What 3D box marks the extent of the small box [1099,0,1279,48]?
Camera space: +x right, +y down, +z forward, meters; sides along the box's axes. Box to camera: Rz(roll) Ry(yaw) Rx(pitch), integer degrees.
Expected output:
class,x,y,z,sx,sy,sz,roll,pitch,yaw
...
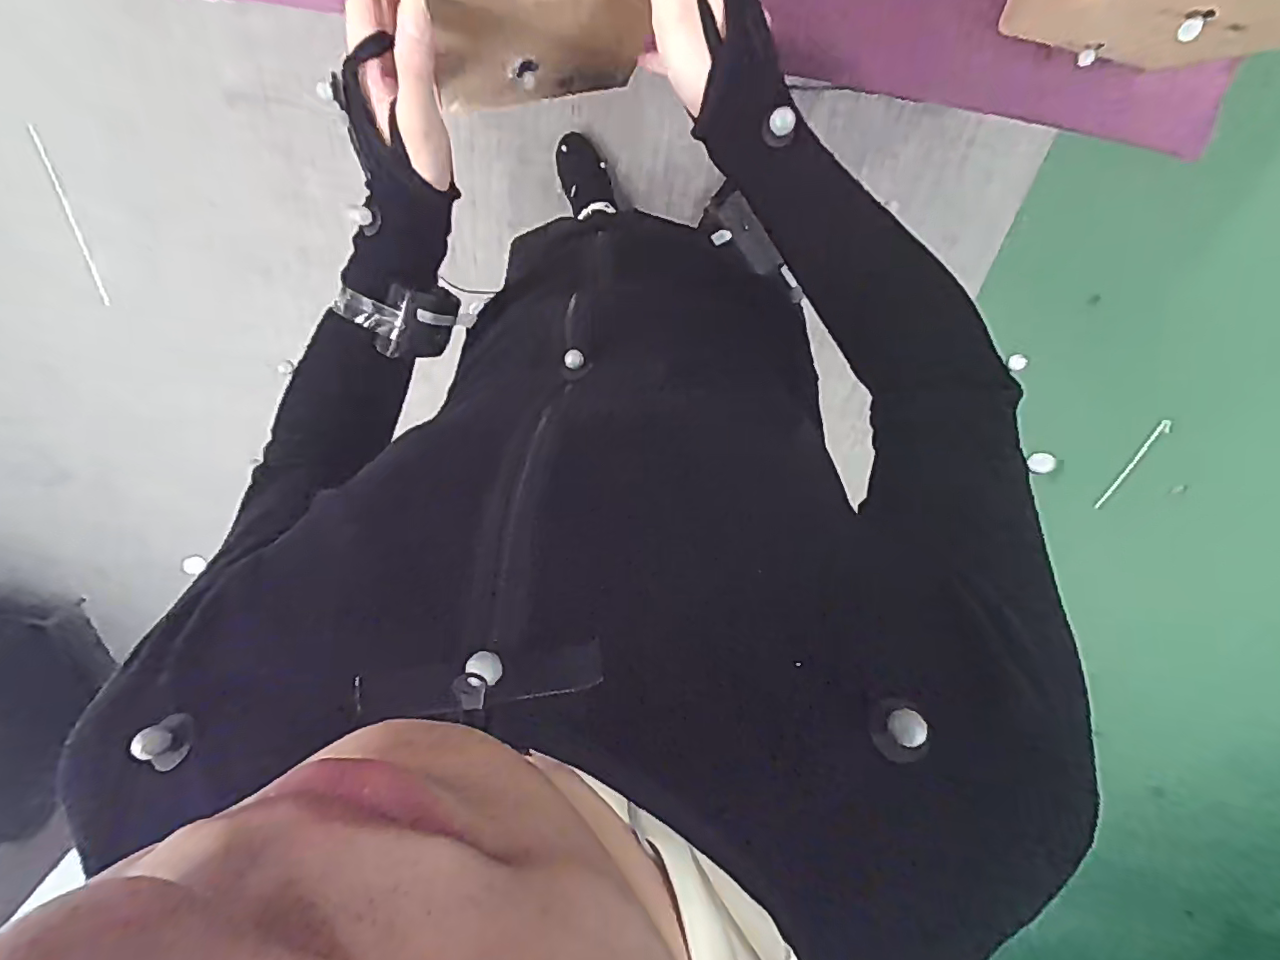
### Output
class,x,y,z,sx,sy,sz,roll,pitch,yaw
small box,0.450,-0.403,0.334,0.168,0.176,0.179,14,123,0

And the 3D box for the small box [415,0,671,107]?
class,x,y,z,sx,sy,sz,roll,pitch,yaw
small box,-0.084,-0.398,0.372,0.168,0.176,0.179,-17,107,-11

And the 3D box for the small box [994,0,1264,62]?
class,x,y,z,sx,sy,sz,roll,pitch,yaw
small box,0.466,-0.489,0.472,0.179,0.176,0.168,13,123,-1
